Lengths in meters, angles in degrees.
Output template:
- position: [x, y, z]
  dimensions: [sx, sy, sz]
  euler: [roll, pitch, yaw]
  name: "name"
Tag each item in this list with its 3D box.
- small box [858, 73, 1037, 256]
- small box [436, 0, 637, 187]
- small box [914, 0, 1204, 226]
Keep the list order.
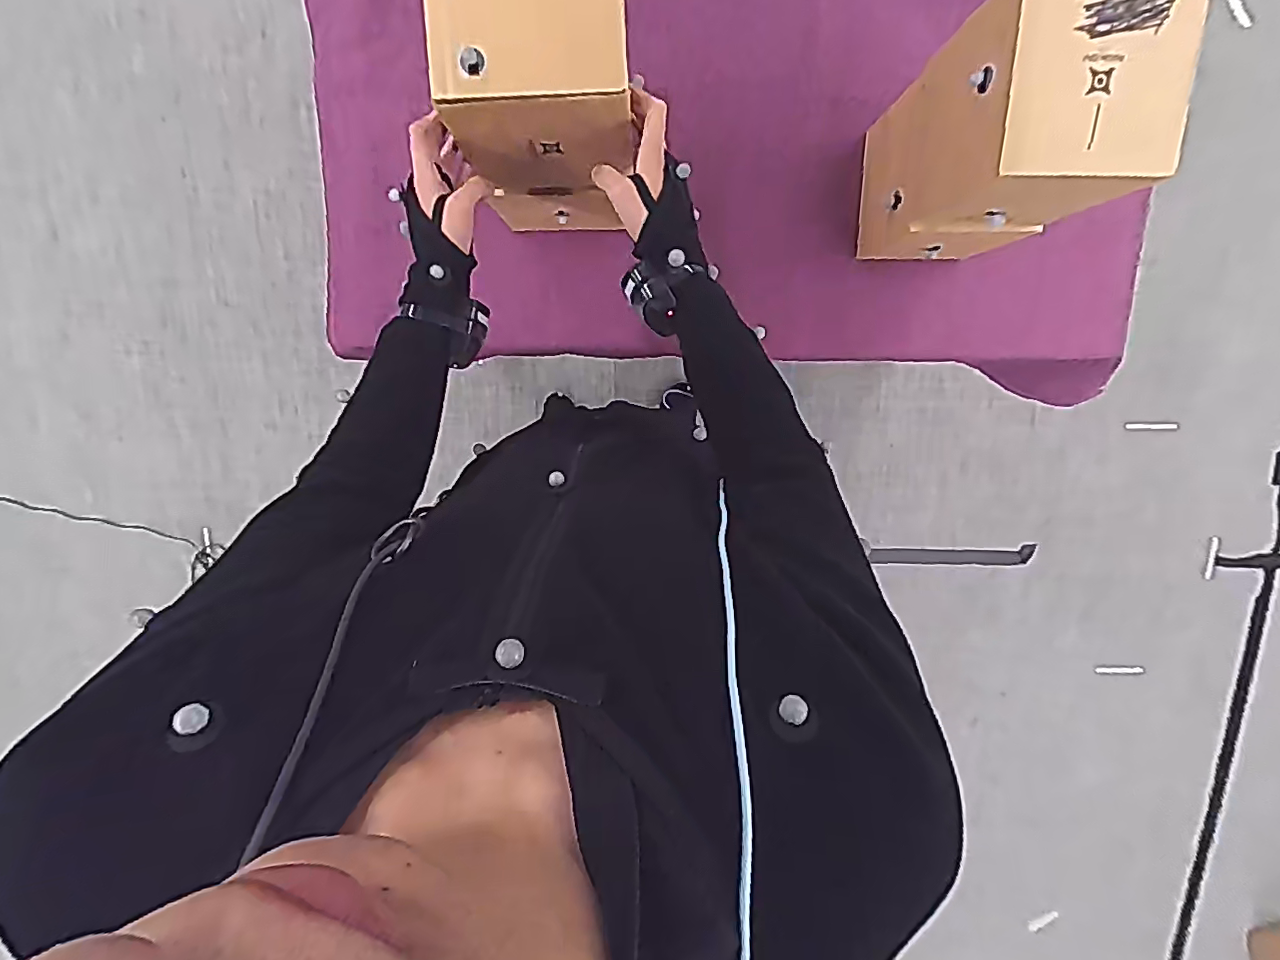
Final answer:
- position: [0.411, -0.408, 0.729]
  dimensions: [0.168, 0.176, 0.179]
  euler: [0, 102, -1]
  name: "small box"
- position: [-0.095, -0.421, 0.544]
  dimensions: [0.179, 0.168, 0.176]
  euler: [-2, 94, 0]
  name: "small box"
- position: [0.413, -0.383, 0.567]
  dimensions: [0.168, 0.176, 0.179]
  euler: [1, 102, 0]
  name: "small box"
